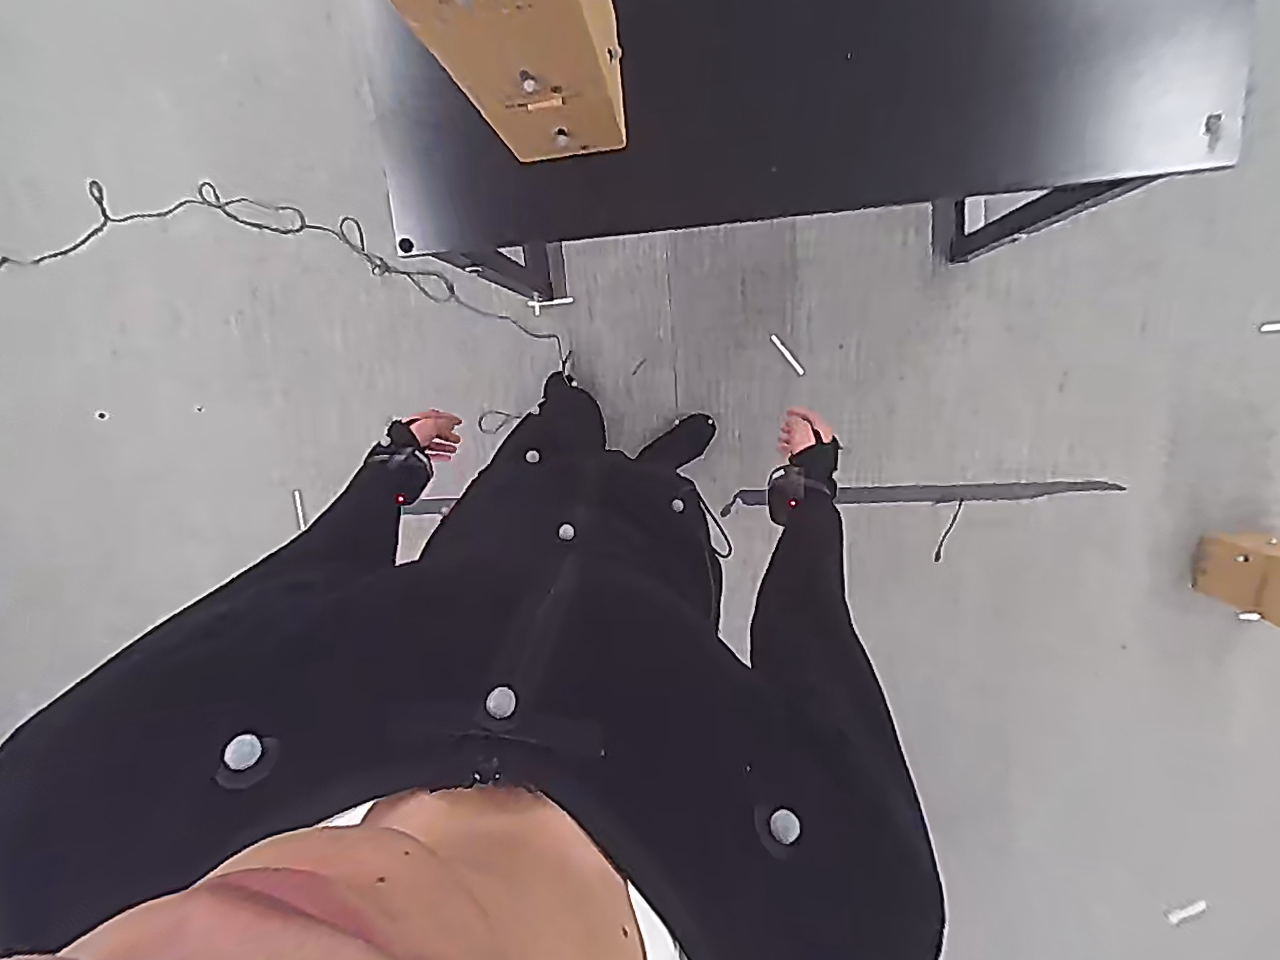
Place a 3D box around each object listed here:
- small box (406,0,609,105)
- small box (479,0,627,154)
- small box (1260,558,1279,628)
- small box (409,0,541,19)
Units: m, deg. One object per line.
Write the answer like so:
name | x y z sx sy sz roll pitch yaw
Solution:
small box | -0.130 -0.527 0.552 0.168 0.176 0.179 -4 101 7
small box | -0.113 -0.556 0.713 0.168 0.176 0.179 -4 101 7
small box | 1.630 0.288 1.263 0.168 0.176 0.179 -2 102 6
small box | -0.146 -0.496 0.393 0.168 0.176 0.179 -4 101 8
